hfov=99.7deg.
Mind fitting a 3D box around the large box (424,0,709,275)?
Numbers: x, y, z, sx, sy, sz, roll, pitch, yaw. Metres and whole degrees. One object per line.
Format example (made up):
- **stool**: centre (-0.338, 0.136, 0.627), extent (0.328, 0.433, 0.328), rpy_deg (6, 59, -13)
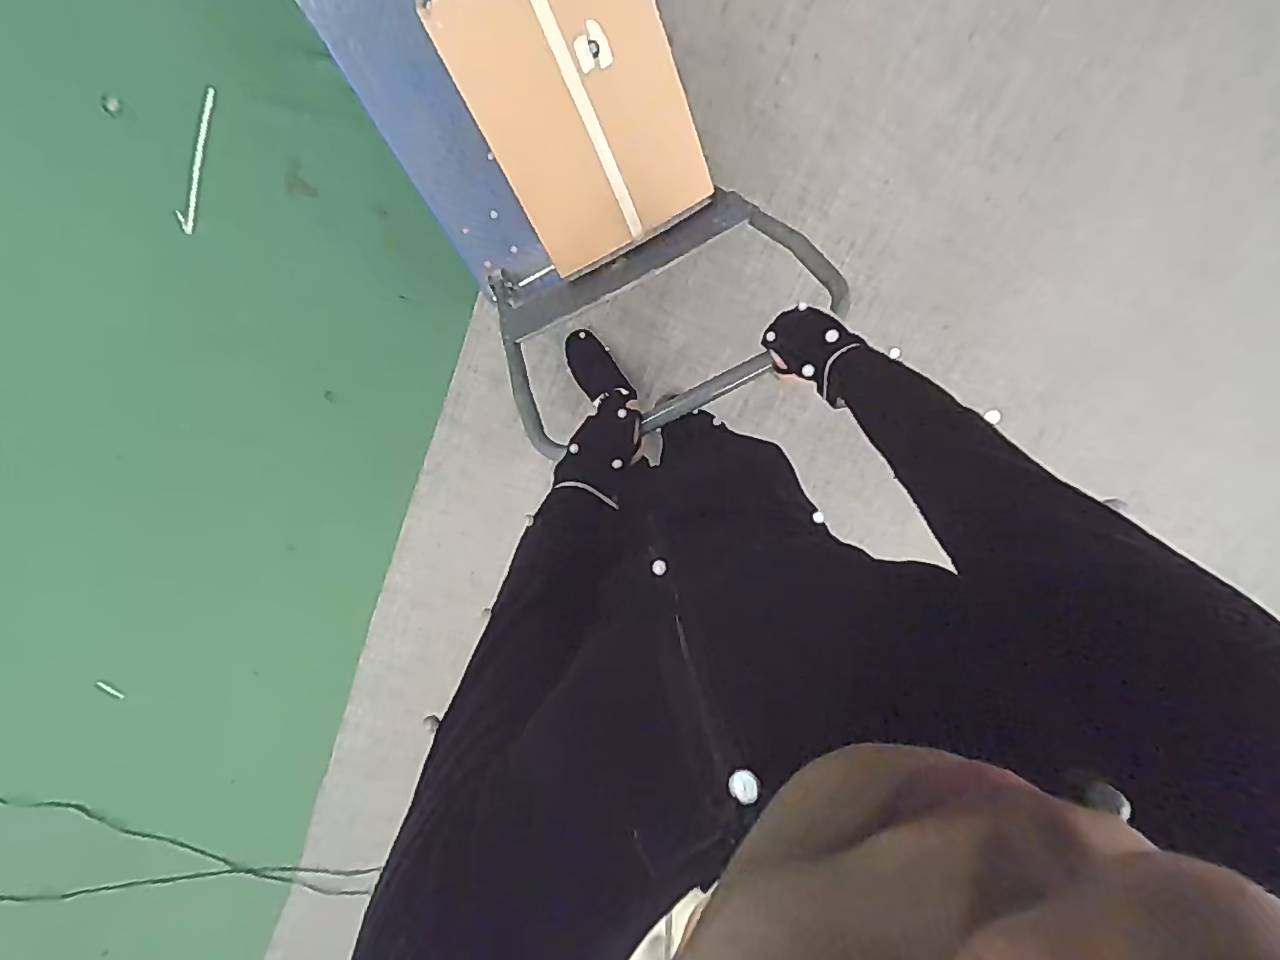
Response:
- **large box**: centre (-0.120, -0.661, 0.980), extent (0.320, 0.320, 0.408), rpy_deg (-27, 128, 4)
